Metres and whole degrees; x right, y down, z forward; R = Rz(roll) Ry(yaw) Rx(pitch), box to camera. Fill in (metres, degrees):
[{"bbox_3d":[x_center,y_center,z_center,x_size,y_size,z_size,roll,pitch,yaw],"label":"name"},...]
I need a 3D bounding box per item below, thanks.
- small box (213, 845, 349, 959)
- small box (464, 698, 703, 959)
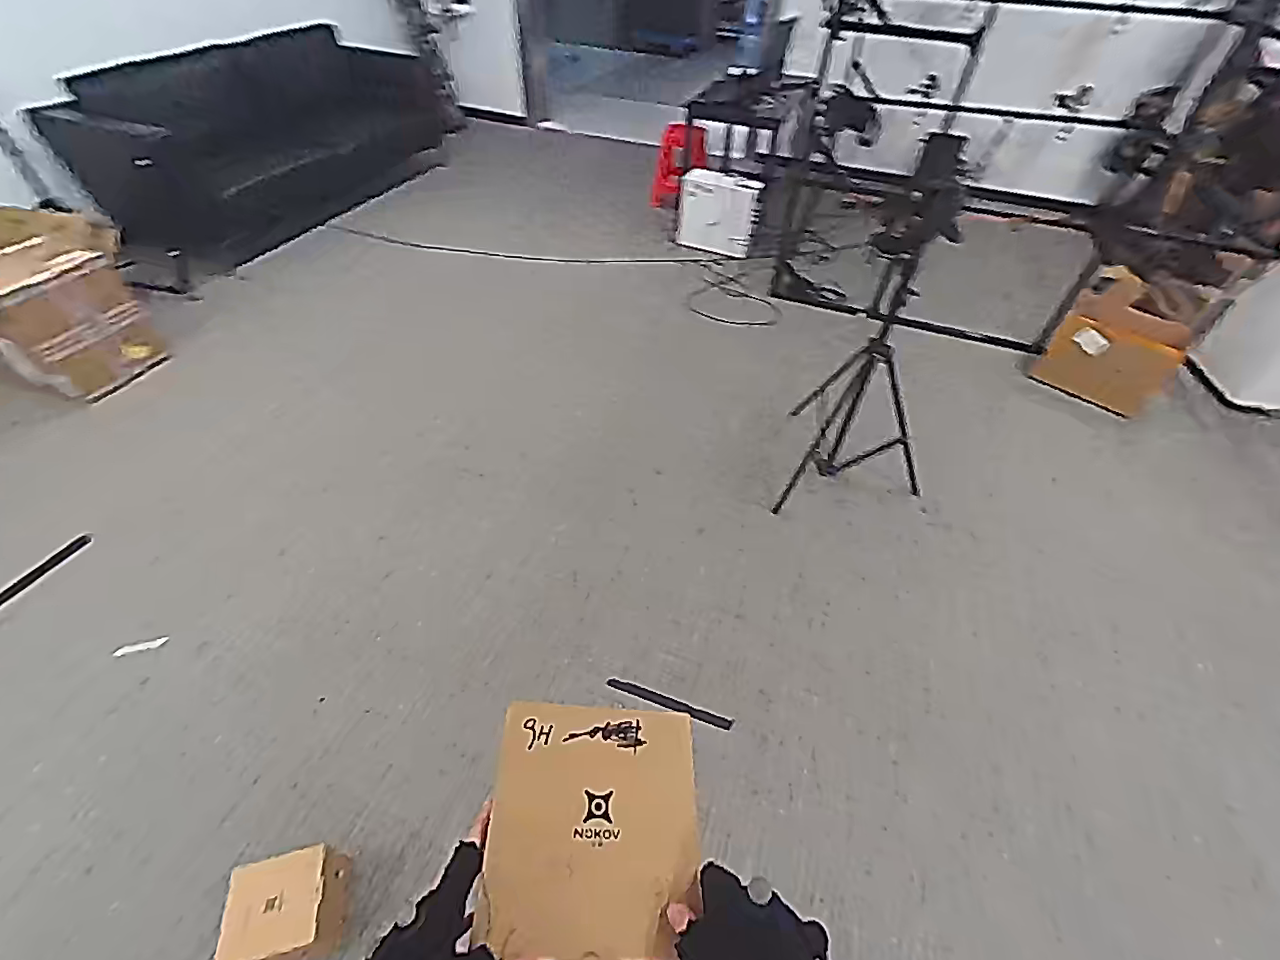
[{"bbox_3d":[-0.718,0.880,1.106,0.179,0.176,0.168,-10,46,-12],"label":"small box"},{"bbox_3d":[-0.050,0.313,0.475,0.168,0.176,0.179,7,47,-9],"label":"small box"}]
